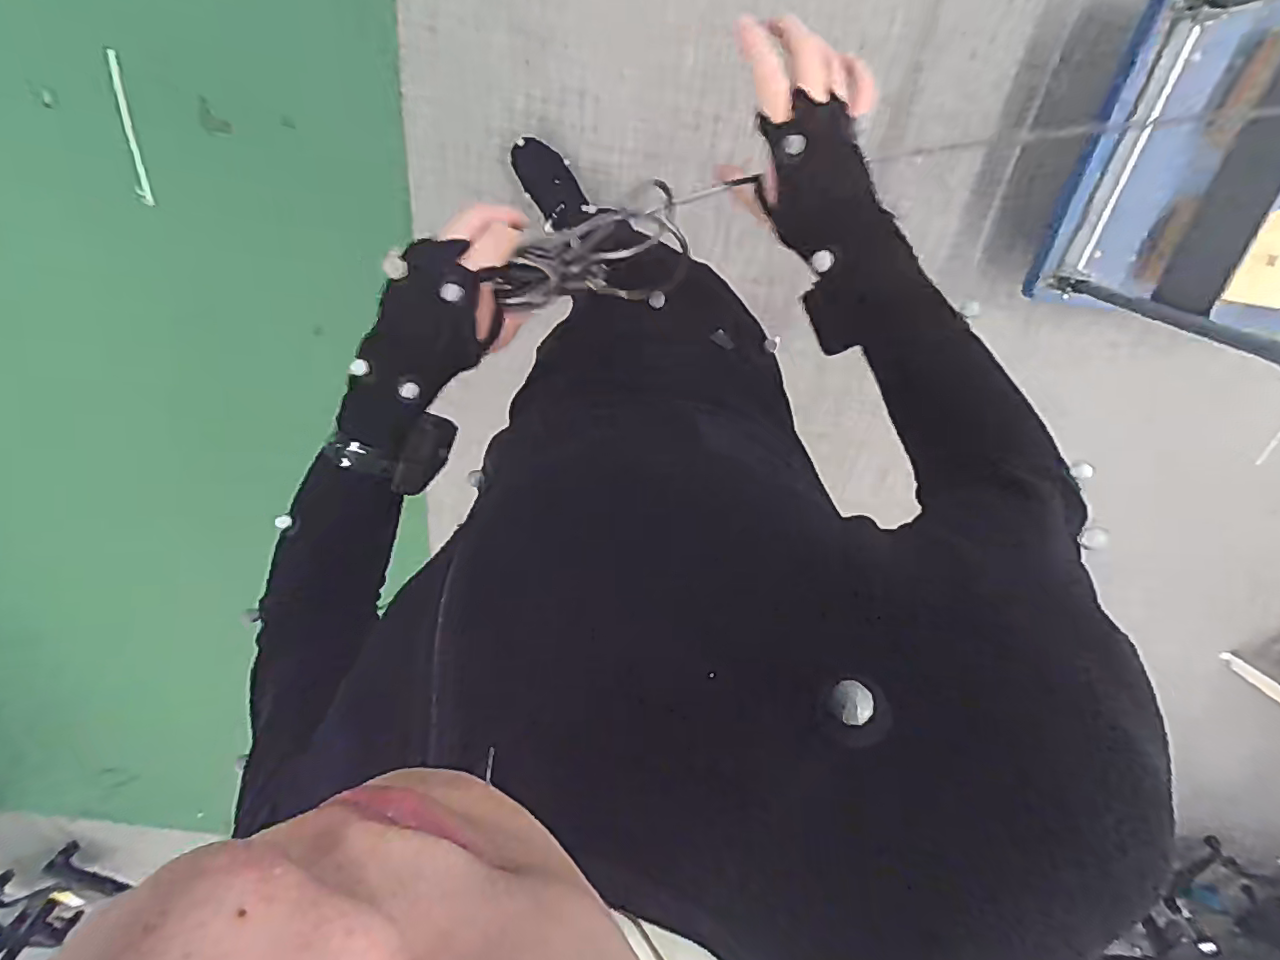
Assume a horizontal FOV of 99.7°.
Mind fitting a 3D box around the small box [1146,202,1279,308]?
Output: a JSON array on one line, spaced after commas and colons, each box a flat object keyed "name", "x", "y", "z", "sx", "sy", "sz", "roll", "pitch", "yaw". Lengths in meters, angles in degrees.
[{"name": "small box", "x": 1.219, "y": -0.464, "z": 1.104, "sx": 0.179, "sy": 0.176, "sz": 0.168, "roll": 8, "pitch": 120, "yaw": -1}]
